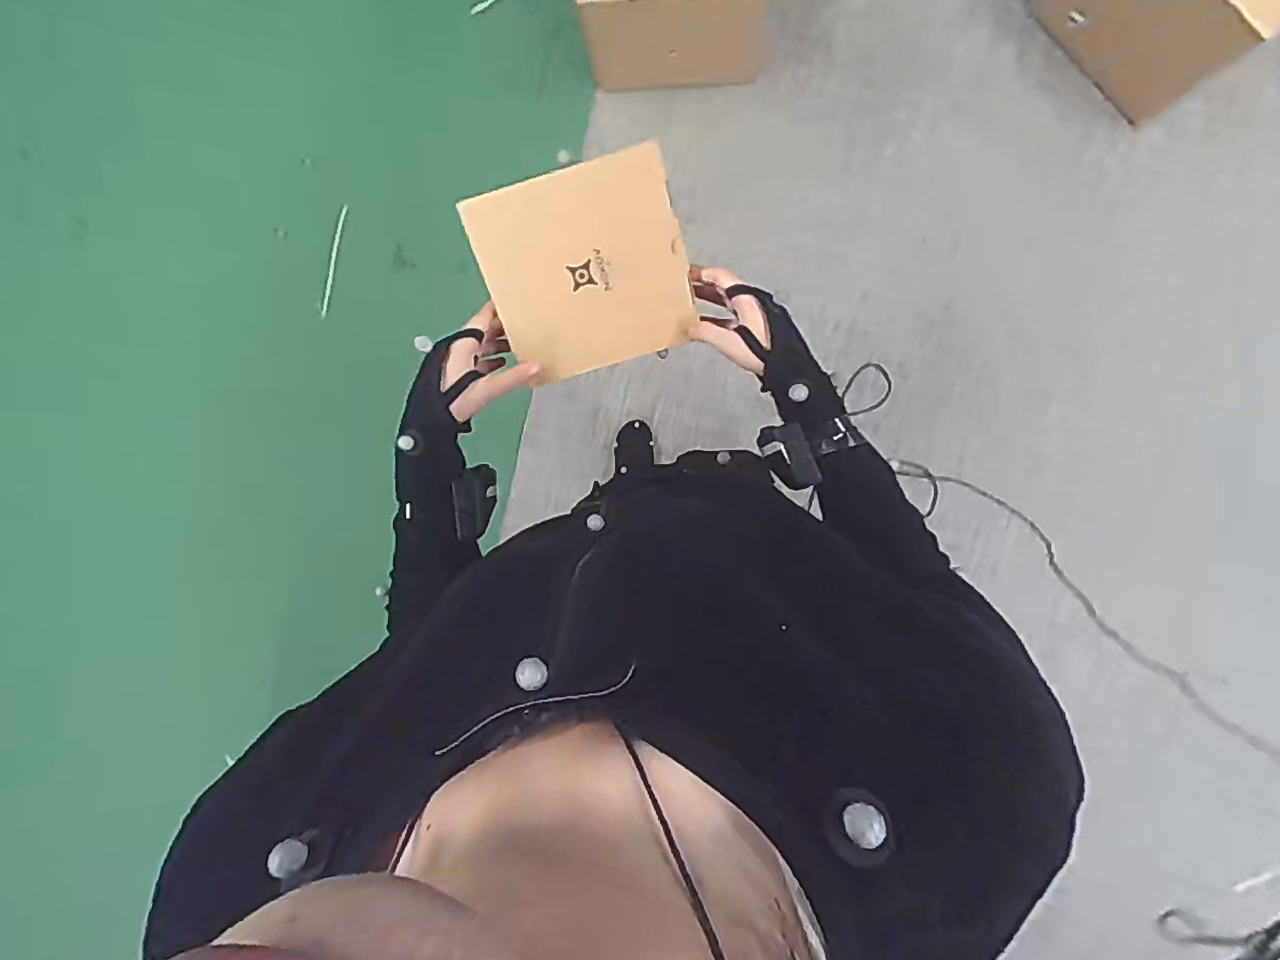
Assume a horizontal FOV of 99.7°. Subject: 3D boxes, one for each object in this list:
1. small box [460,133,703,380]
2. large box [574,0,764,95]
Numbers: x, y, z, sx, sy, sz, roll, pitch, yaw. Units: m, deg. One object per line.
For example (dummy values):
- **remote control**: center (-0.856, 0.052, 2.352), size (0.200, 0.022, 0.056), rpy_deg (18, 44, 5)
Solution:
- **small box**: center (-0.048, -0.216, 0.540), size (0.179, 0.176, 0.168), rpy_deg (-16, 115, 4)
- **large box**: center (0.074, -1.162, 1.257), size (0.408, 0.320, 0.320), rpy_deg (0, 94, 8)
